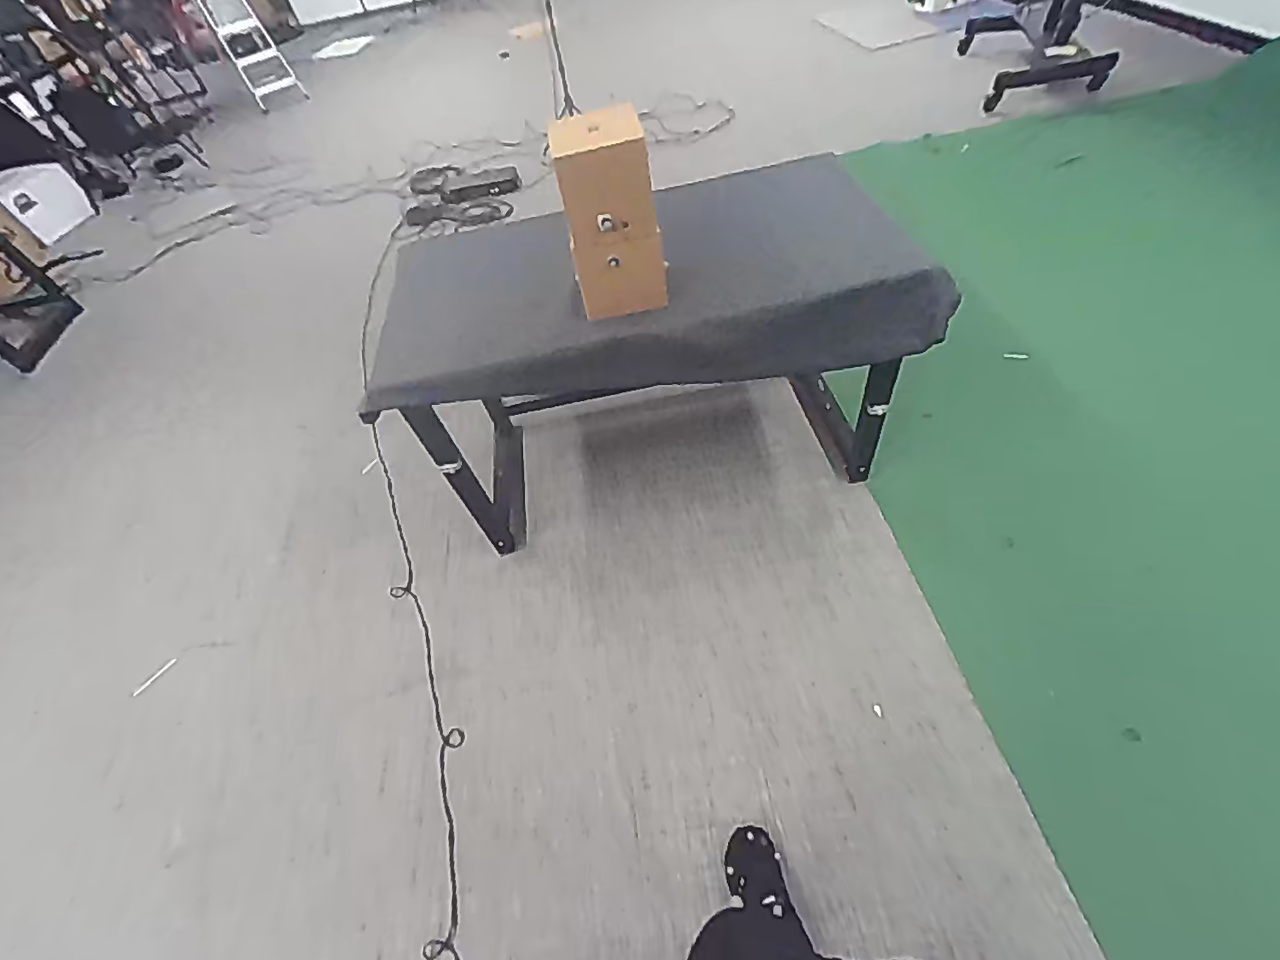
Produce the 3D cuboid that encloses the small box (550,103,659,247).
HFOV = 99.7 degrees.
[{"bbox_3d":[-0.066,-0.574,1.024,0.168,0.176,0.179,-13,52,2],"label":"small box"}]

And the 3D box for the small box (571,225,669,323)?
[{"bbox_3d":[-0.042,-0.459,1.159,0.179,0.176,0.168,-11,52,1],"label":"small box"}]
